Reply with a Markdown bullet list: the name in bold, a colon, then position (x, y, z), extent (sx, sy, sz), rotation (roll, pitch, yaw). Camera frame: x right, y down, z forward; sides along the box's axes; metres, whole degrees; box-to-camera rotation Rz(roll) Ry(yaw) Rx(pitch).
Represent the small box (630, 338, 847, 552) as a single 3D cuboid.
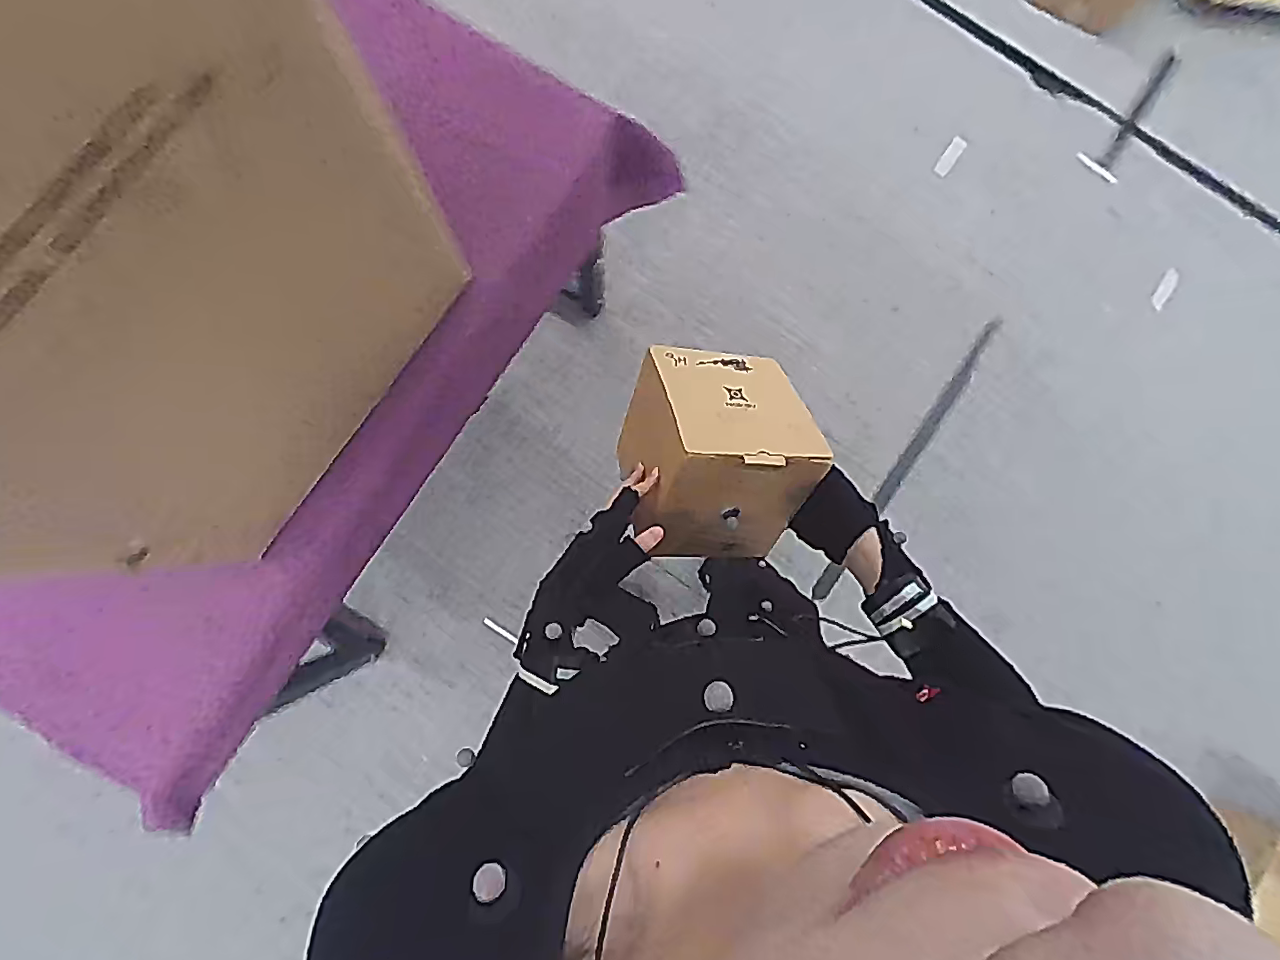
- **small box**: position (0.094, -0.033, 0.614), extent (0.168, 0.176, 0.179), rotation (4, 47, -17)
